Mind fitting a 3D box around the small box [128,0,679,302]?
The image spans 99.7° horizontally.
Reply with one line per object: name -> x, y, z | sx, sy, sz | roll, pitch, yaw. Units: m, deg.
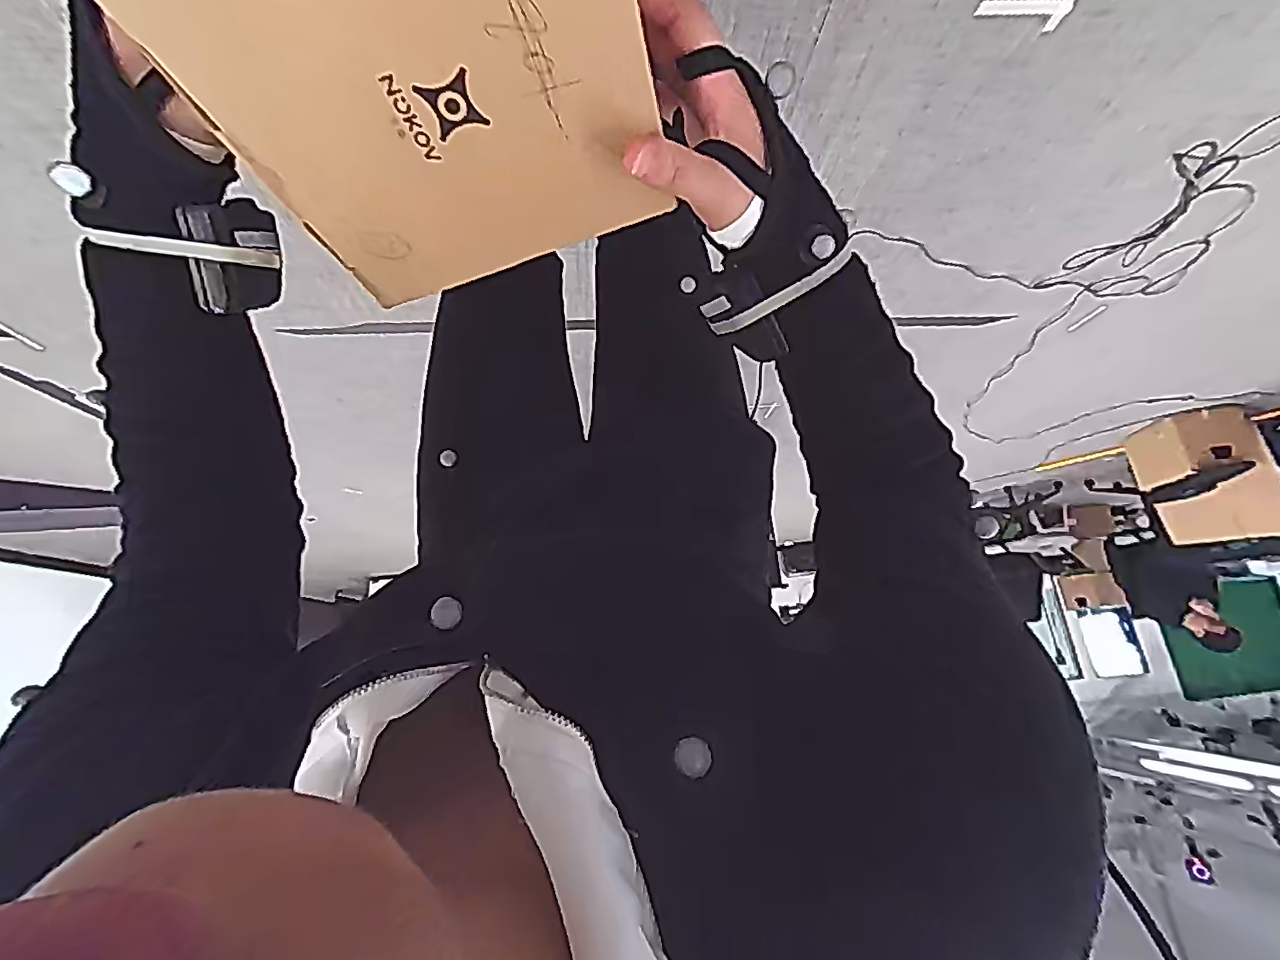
small box -> -0.094, -0.231, 0.273 | 0.179, 0.176, 0.168 | -17, 154, 7
